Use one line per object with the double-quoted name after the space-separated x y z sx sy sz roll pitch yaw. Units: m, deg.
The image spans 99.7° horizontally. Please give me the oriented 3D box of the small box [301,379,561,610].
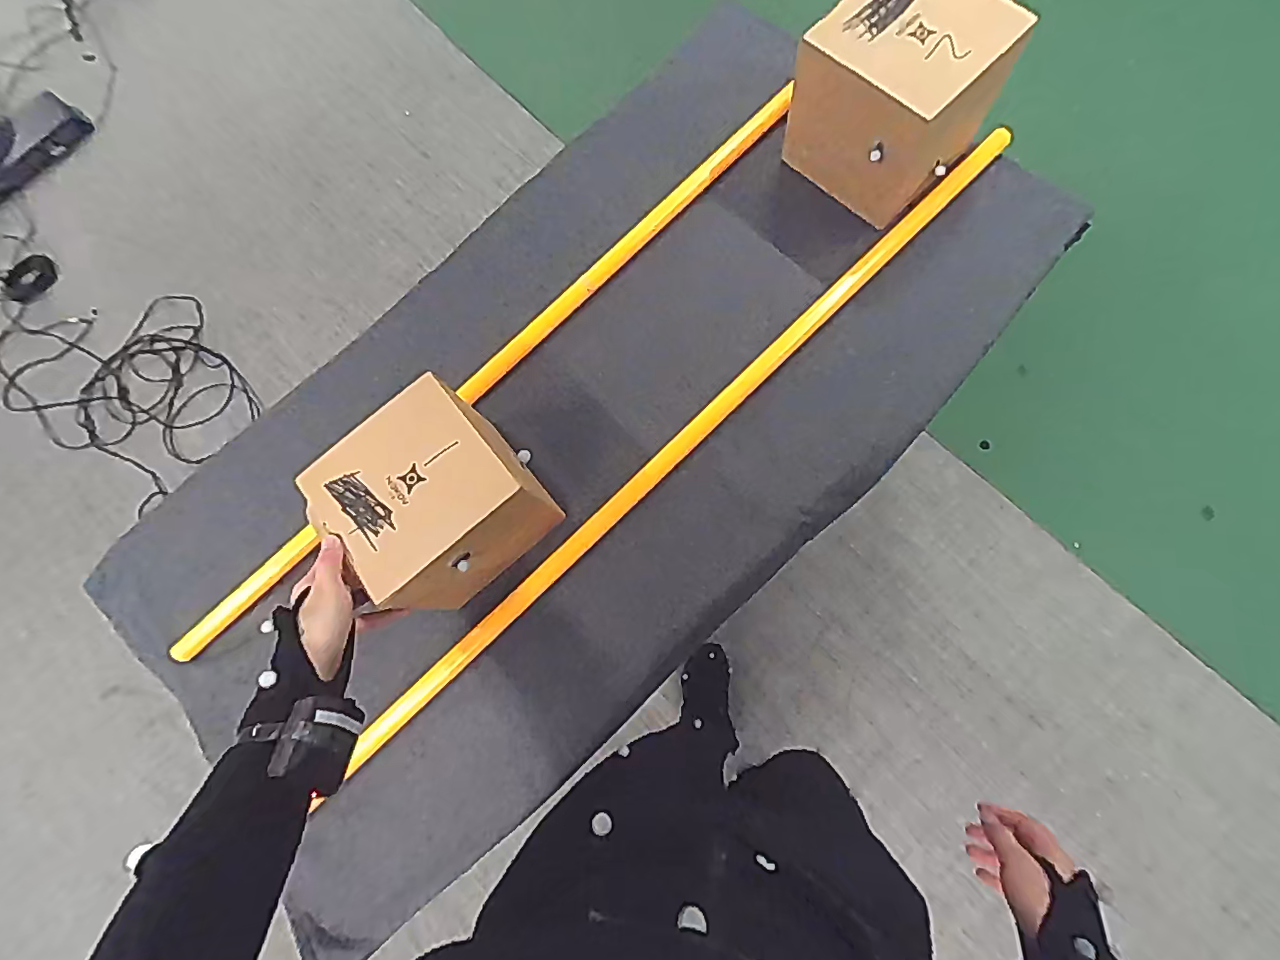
-0.214 0.028 0.601 0.179 0.176 0.168 -40 75 -4 "small box"
